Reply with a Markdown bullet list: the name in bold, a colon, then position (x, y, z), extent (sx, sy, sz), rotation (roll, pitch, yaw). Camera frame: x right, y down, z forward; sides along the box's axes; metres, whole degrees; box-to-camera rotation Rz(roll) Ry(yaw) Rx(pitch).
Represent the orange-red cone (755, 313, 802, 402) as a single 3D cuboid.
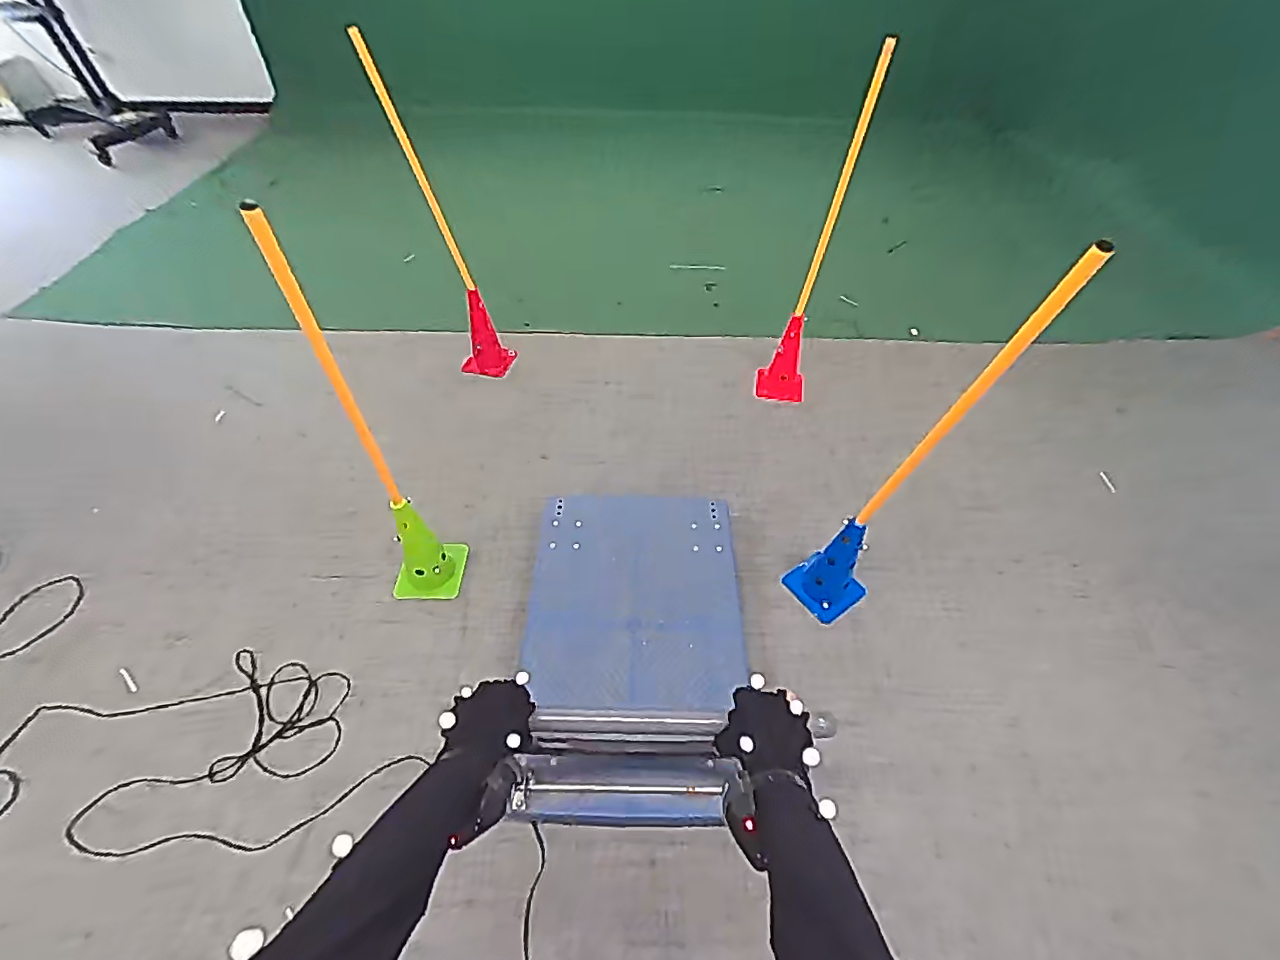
- **orange-red cone**: position (0.604, -0.521, 2.224), extent (0.198, 0.360, 0.199), rotation (9, 51, 7)
